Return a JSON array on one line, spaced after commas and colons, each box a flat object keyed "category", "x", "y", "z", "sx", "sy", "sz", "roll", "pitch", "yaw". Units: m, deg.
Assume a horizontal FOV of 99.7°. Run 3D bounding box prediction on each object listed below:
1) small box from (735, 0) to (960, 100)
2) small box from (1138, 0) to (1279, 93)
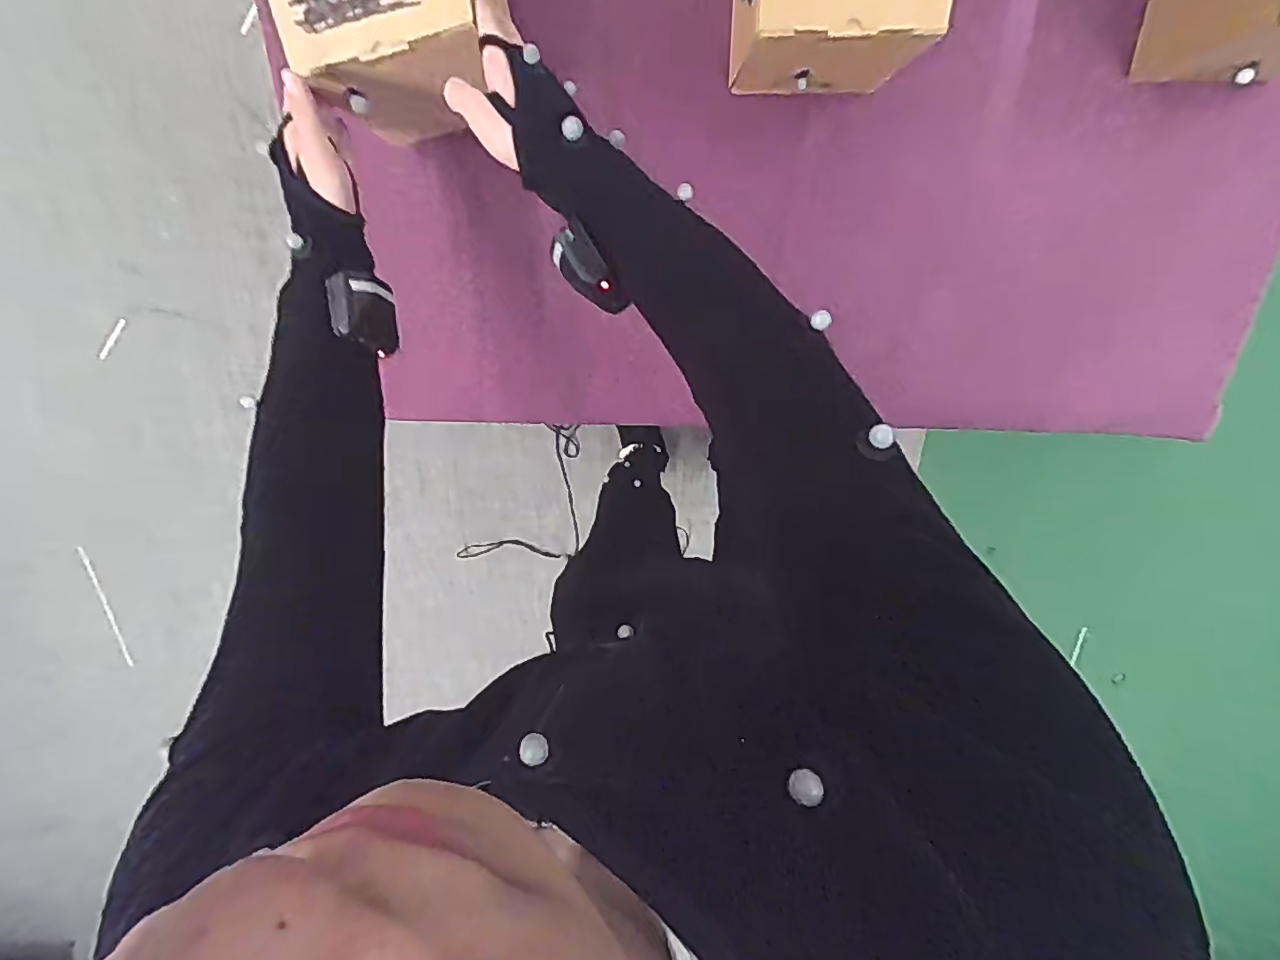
[{"category": "small box", "x": 0.187, "y": -0.486, "z": 0.508, "sx": 0.168, "sy": 0.176, "sz": 0.179, "roll": -1, "pitch": 112, "yaw": 0}, {"category": "small box", "x": 0.629, "y": -0.489, "z": 0.501, "sx": 0.168, "sy": 0.176, "sz": 0.179, "roll": 2, "pitch": 112, "yaw": 2}]
